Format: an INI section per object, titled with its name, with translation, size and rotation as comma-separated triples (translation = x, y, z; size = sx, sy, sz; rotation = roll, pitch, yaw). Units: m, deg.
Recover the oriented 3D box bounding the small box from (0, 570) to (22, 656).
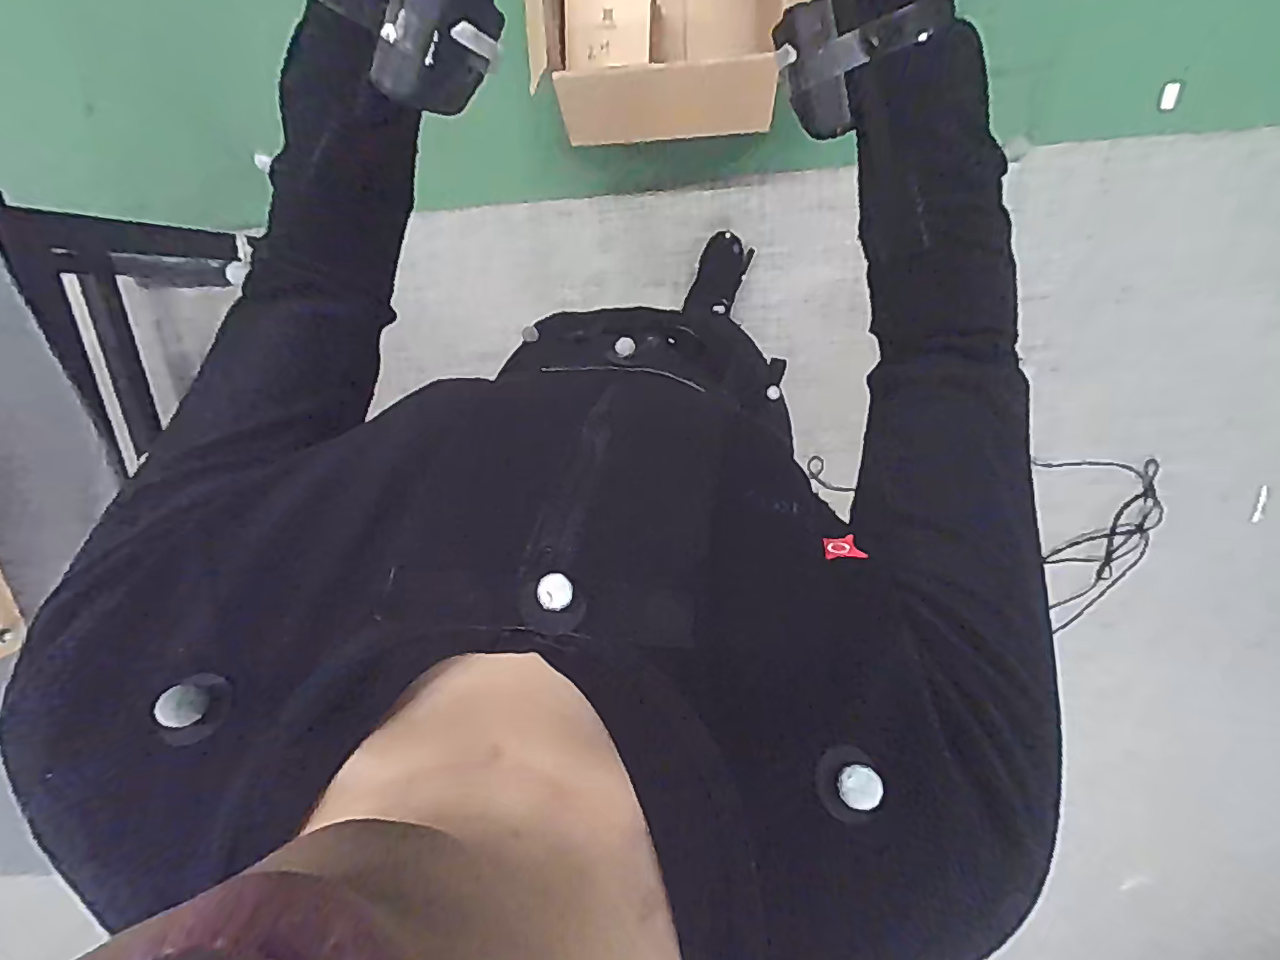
[small box]
translation = -1.083, 0.213, 0.791
size = 0.179, 0.176, 0.168
rotation = 1, 109, 5
